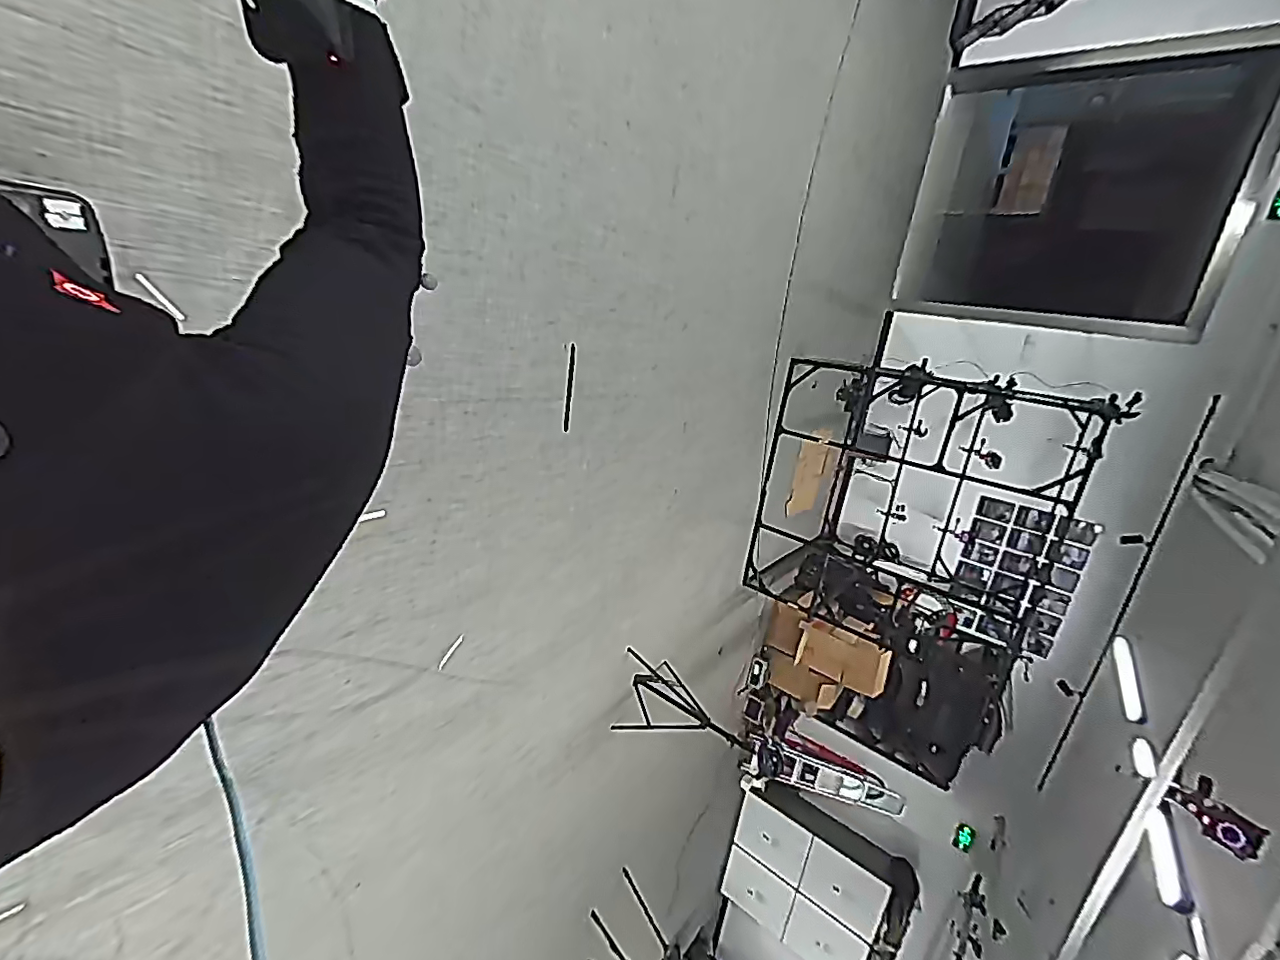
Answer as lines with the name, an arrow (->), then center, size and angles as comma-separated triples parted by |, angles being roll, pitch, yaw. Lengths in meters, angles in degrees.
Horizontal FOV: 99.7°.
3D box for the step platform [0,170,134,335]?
step platform -> -1.289, -0.394, 0.876 | 0.684, 0.204, 0.286 | -17, 121, -51
